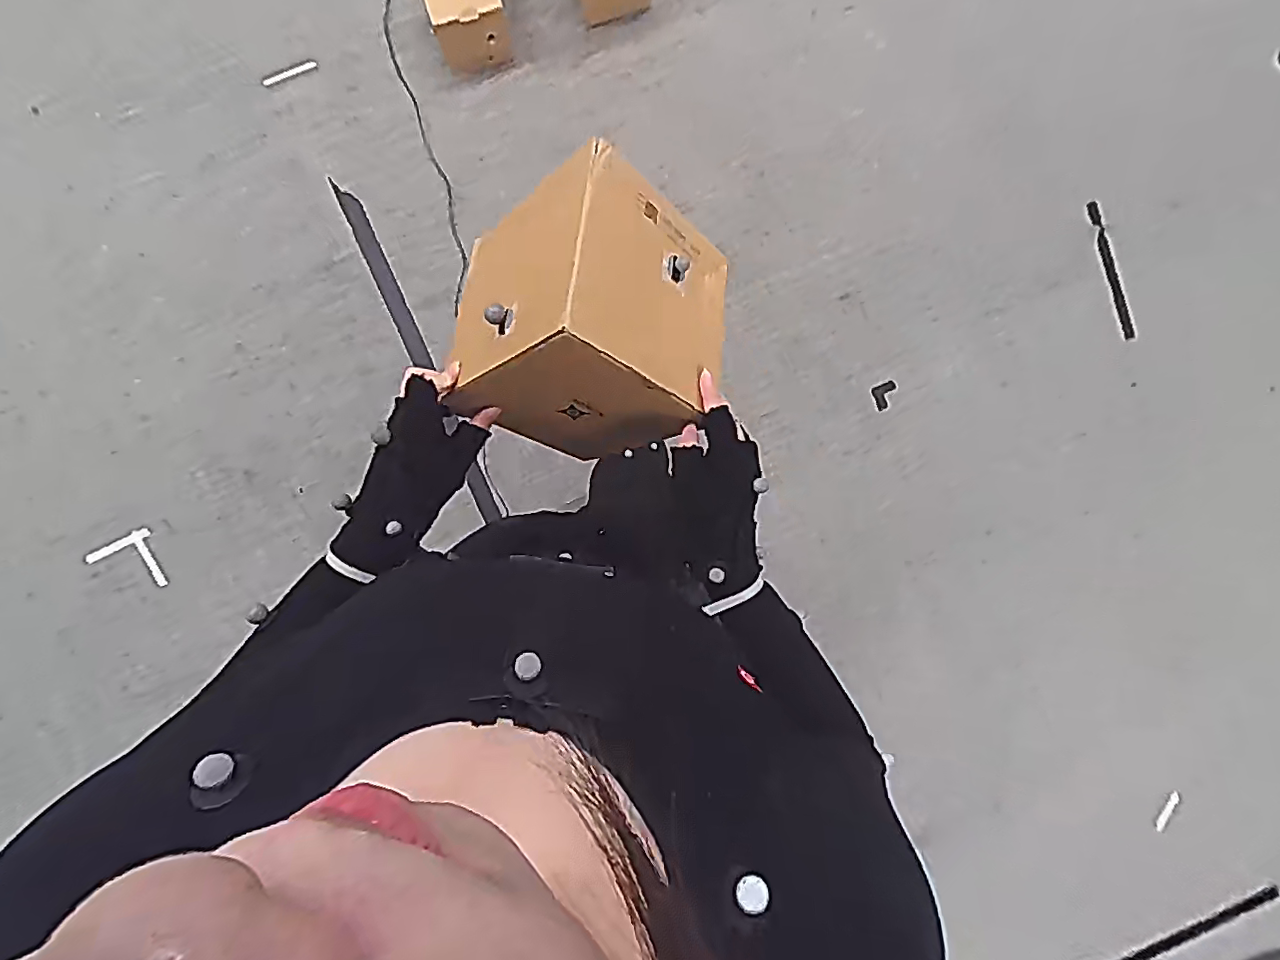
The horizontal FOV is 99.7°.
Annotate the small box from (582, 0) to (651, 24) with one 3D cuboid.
[{"bbox_3d":[-0.070,-1.246,1.288,0.179,0.176,0.168,-20,96,-2],"label":"small box"}]

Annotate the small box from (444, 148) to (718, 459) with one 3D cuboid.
[{"bbox_3d":[-0.044,-0.138,0.481,0.168,0.179,0.176,23,64,-41],"label":"small box"}]

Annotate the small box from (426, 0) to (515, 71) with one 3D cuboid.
[{"bbox_3d":[-0.408,-1.115,1.279,0.168,0.176,0.179,-17,95,-3],"label":"small box"}]
